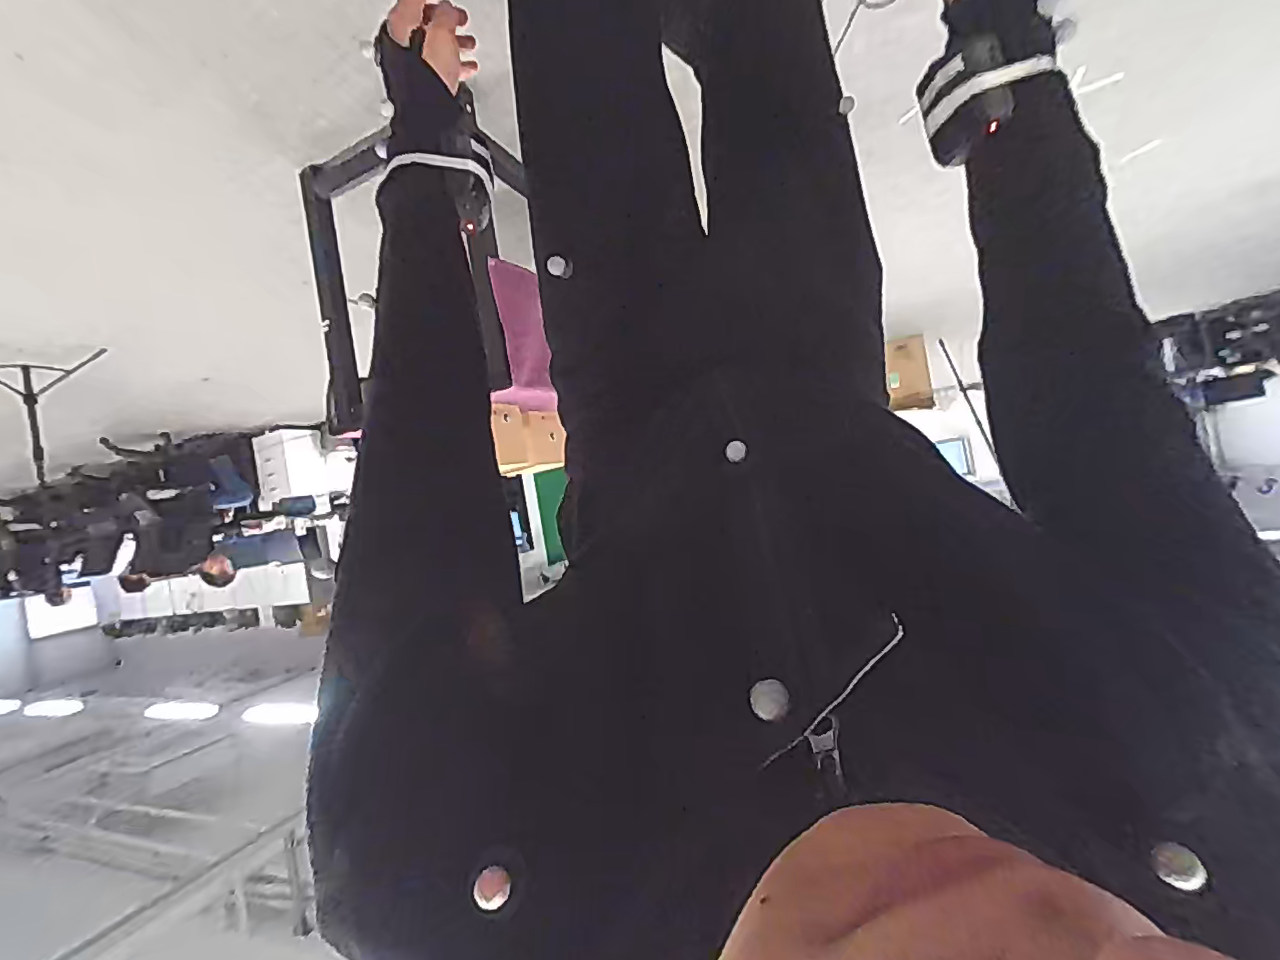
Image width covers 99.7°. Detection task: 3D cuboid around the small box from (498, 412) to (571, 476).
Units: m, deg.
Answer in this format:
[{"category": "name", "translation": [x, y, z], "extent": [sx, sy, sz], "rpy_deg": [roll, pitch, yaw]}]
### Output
[{"category": "small box", "translation": [-0.347, -0.115, 1.704], "extent": [0.179, 0.176, 0.168], "rpy_deg": [-10, 179, 32]}]

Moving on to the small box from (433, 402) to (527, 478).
[{"category": "small box", "translation": [-0.431, -0.104, 1.445], "extent": [0.179, 0.176, 0.168], "rpy_deg": [-10, 180, 26]}]
